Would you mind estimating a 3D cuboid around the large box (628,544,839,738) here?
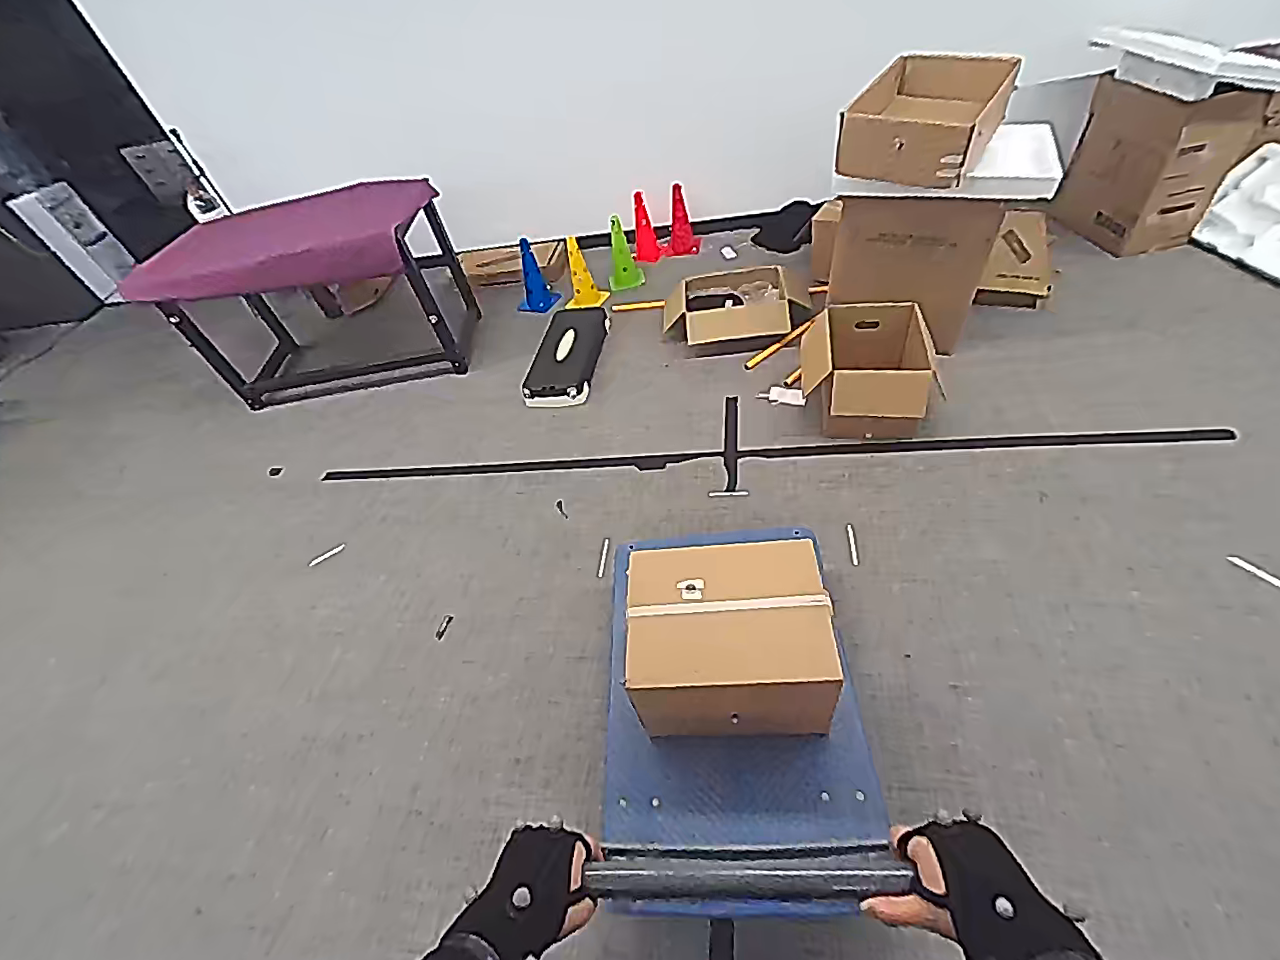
[{"bbox_3d":[0.200,0.374,1.227,0.408,0.320,0.320,-6,47,8],"label":"large box"}]
